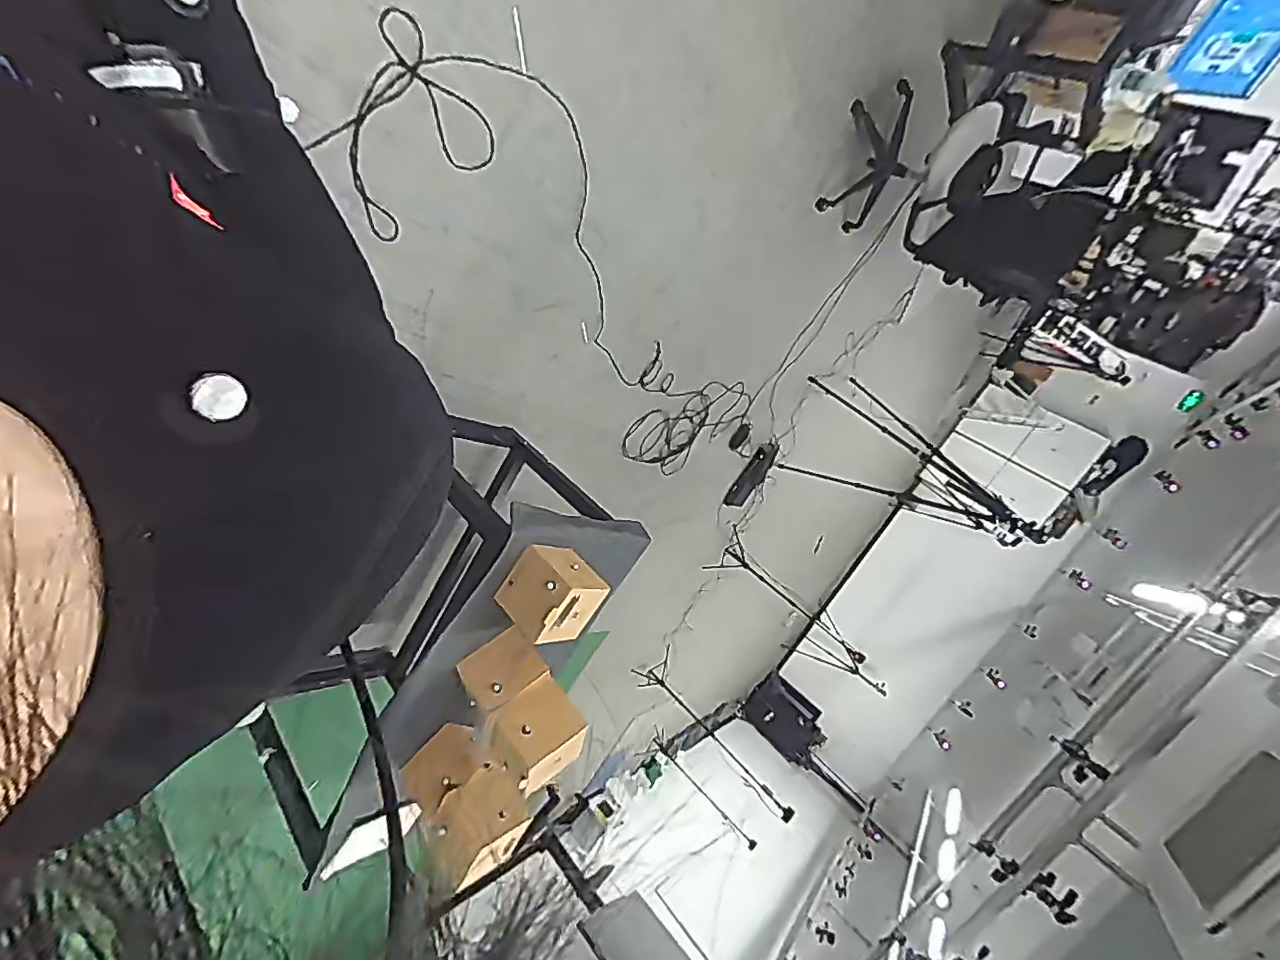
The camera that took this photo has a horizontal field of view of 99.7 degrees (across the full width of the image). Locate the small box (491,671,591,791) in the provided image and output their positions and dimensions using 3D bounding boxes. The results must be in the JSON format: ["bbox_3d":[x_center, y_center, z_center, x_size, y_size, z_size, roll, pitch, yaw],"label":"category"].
[{"bbox_3d":[-0.251,0.616,1.342,0.179,0.176,0.168,-24,142,-40],"label":"small box"}]

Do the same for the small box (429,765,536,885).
[{"bbox_3d":[-0.414,0.891,1.417,0.179,0.176,0.168,4,119,-55],"label":"small box"}]

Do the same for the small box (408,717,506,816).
[{"bbox_3d":[-0.518,0.801,1.510,0.179,0.176,0.168,-45,150,-14],"label":"small box"}]

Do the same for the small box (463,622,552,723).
[{"bbox_3d":[-0.349,0.514,1.425,0.179,0.176,0.168,-32,146,-30],"label":"small box"}]
